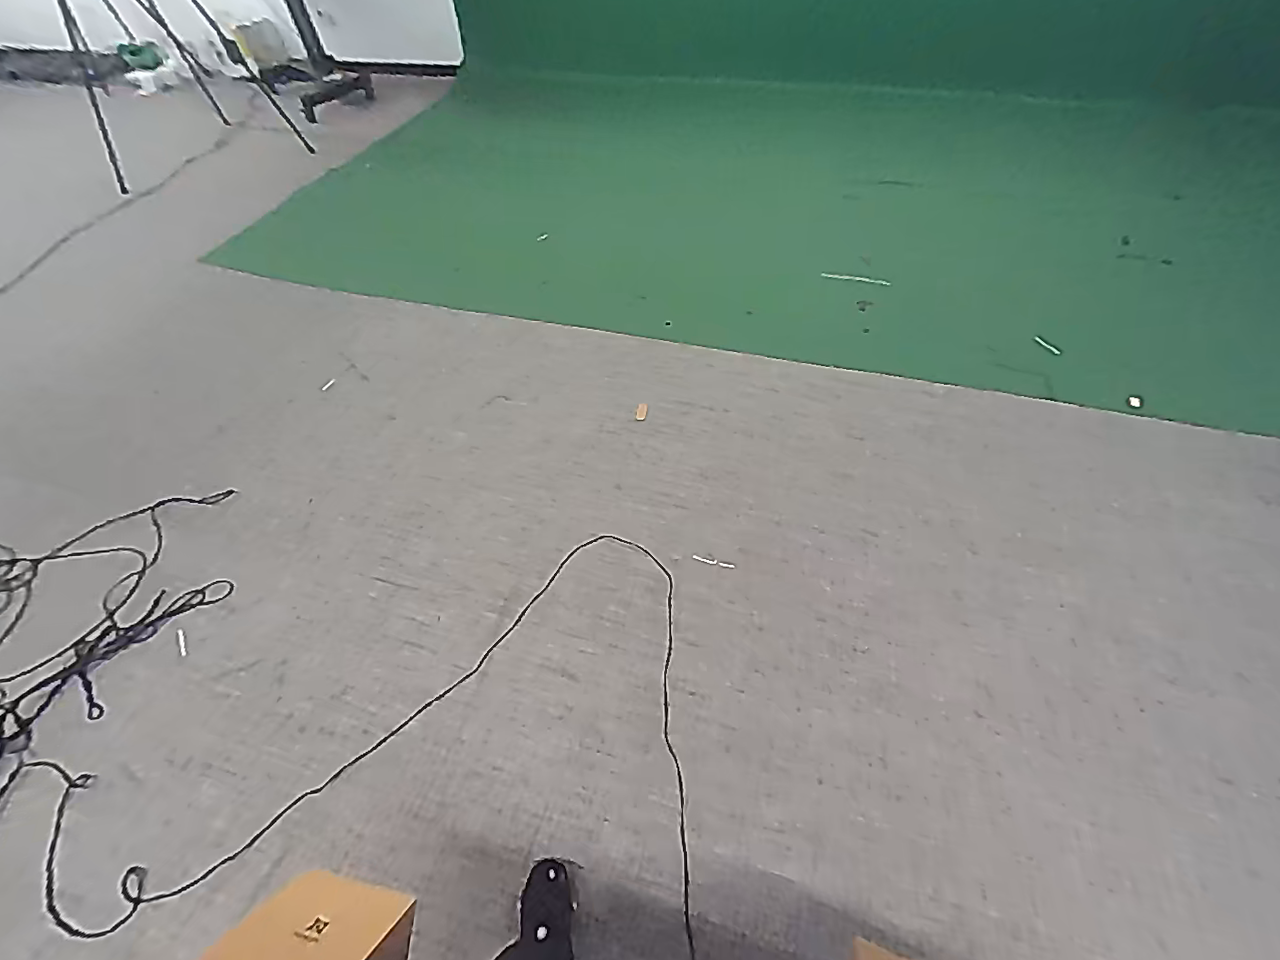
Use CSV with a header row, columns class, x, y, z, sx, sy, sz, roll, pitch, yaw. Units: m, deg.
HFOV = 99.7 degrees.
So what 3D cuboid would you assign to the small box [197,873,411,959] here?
class,x,y,z,sx,sy,sz,roll,pitch,yaw
small box,-0.405,0.623,0.640,0.168,0.179,0.176,7,86,9
